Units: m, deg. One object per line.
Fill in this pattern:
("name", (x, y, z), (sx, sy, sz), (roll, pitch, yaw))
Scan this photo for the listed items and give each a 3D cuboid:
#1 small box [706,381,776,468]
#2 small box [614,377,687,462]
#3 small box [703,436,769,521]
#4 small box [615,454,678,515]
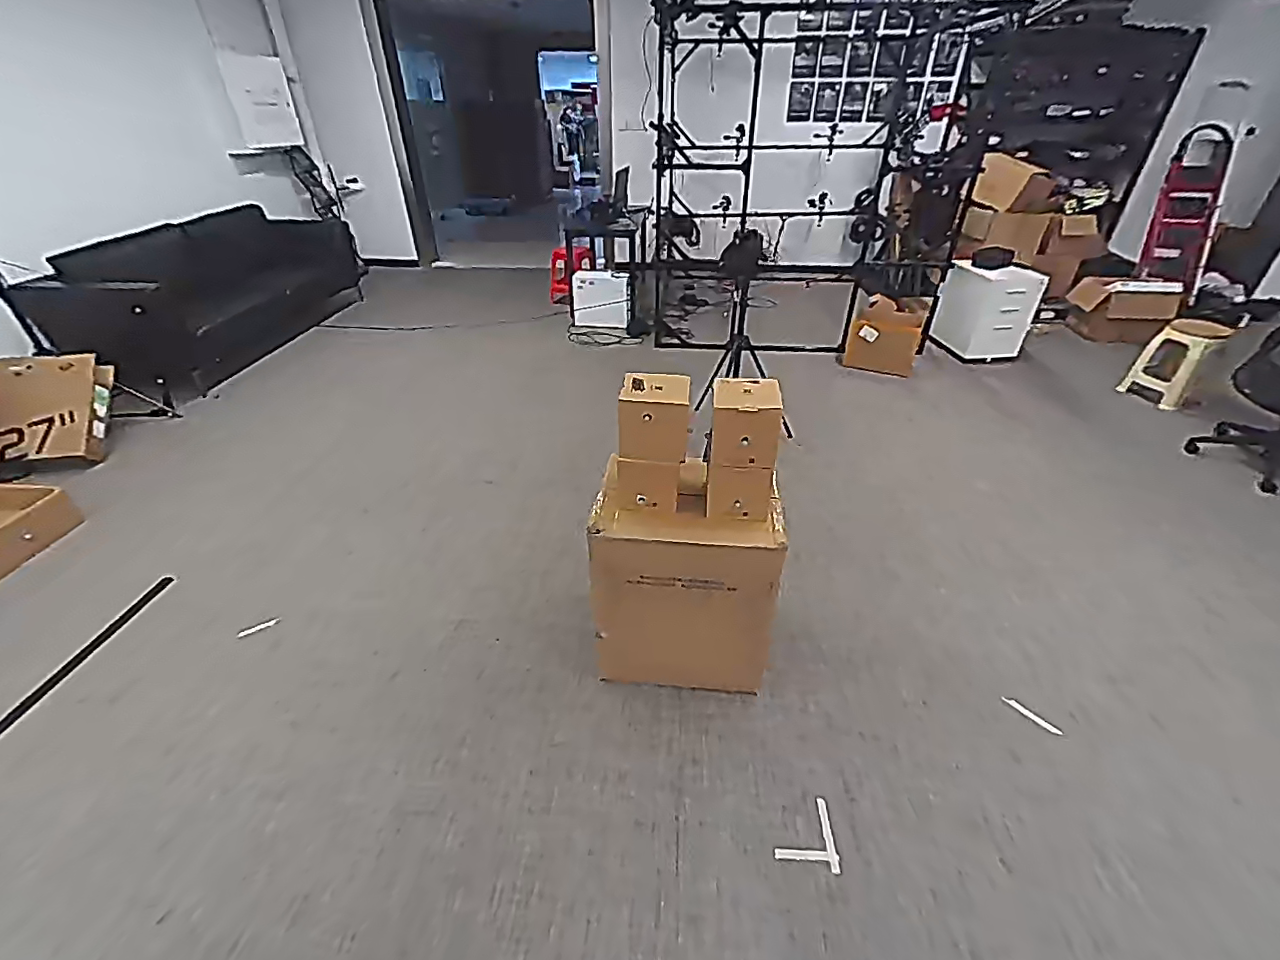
("small box", (0.259, -0.144, 1.401), (0.168, 0.176, 0.179), (2, 35, 7))
("small box", (0.031, -0.161, 1.433), (0.179, 0.176, 0.168), (4, 35, 4))
("small box", (0.258, -0.006, 1.490), (0.168, 0.176, 0.179), (1, 35, 6))
("small box", (0.022, -0.023, 1.522), (0.168, 0.176, 0.179), (2, 36, 5))
